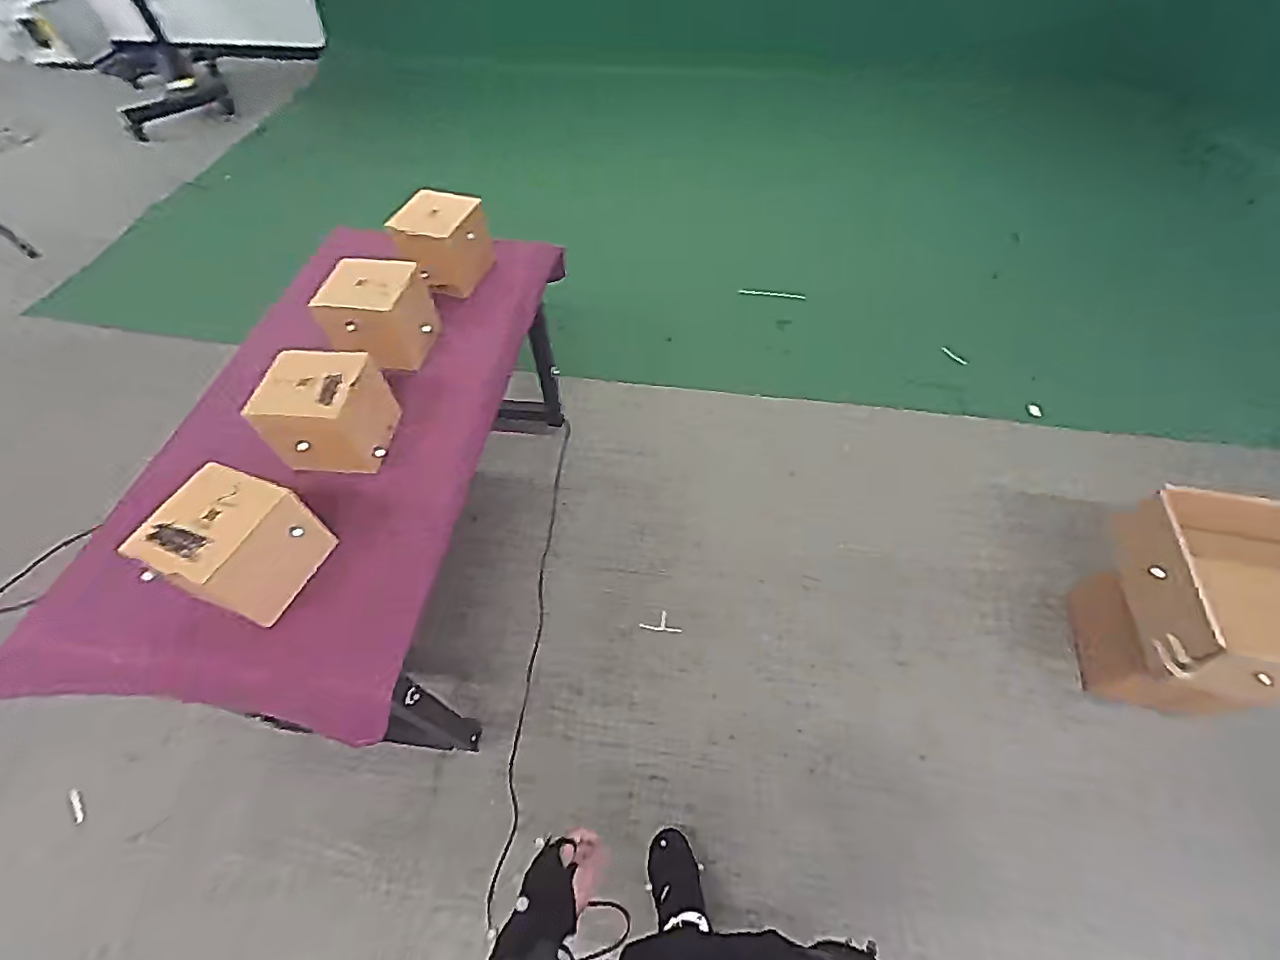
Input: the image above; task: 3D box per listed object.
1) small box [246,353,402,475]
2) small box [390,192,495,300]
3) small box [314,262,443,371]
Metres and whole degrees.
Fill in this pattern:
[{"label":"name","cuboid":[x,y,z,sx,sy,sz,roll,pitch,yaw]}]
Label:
[{"label":"small box","cuboid":[-0.590,-0.123,1.042,0.179,0.176,0.168,3,55,4]},{"label":"small box","cuboid":[-0.482,-0.585,1.356,0.168,0.176,0.179,14,58,11]},{"label":"small box","cuboid":[-0.569,-0.360,1.203,0.179,0.176,0.168,6,57,5]}]
